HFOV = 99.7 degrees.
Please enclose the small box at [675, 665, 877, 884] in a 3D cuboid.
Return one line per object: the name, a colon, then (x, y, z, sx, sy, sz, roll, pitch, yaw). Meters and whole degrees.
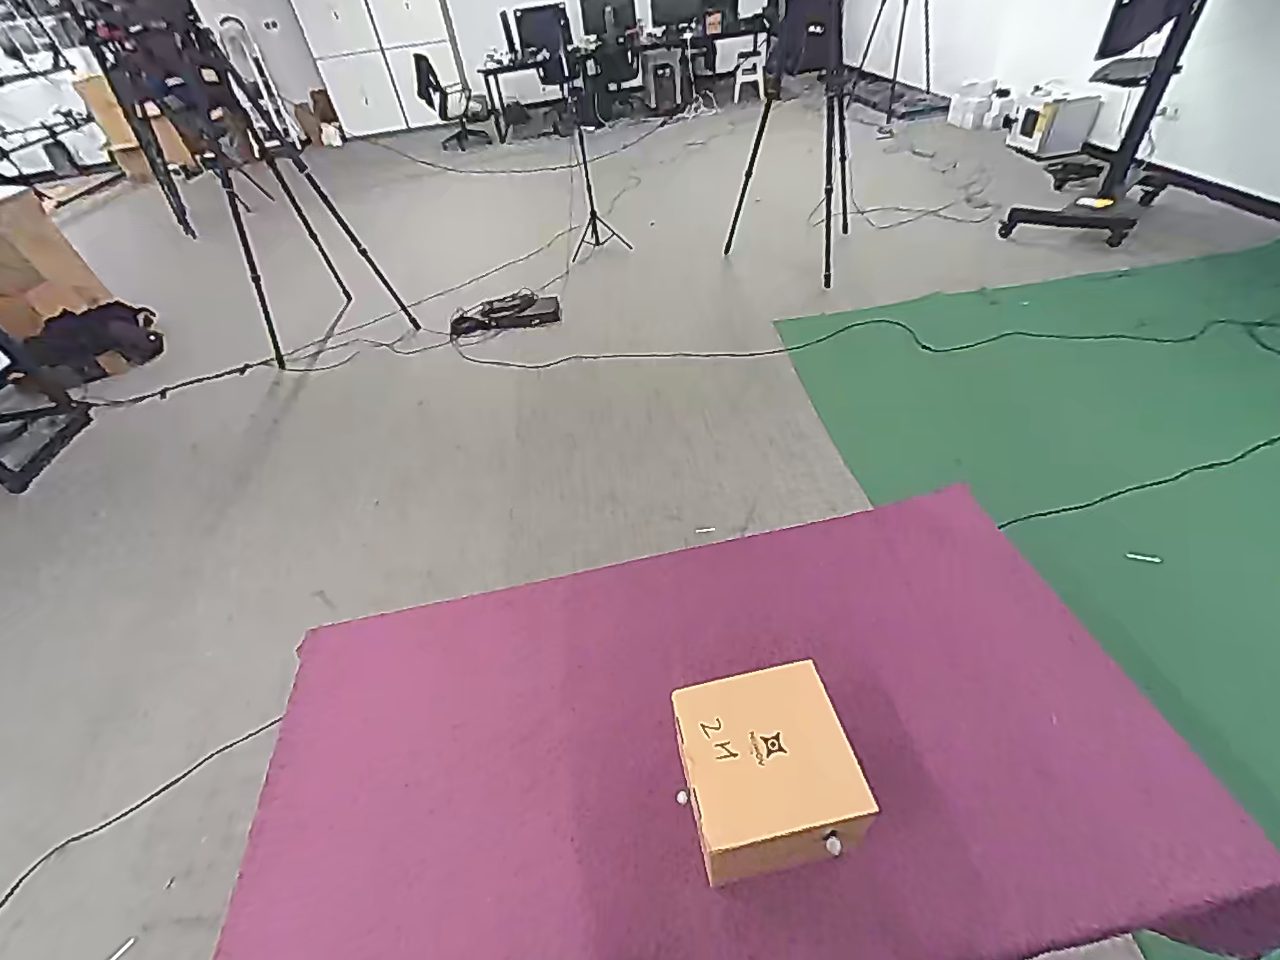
small box: (0.145, 0.348, 0.638, 0.179, 0.176, 0.168, -12, 43, -3)
